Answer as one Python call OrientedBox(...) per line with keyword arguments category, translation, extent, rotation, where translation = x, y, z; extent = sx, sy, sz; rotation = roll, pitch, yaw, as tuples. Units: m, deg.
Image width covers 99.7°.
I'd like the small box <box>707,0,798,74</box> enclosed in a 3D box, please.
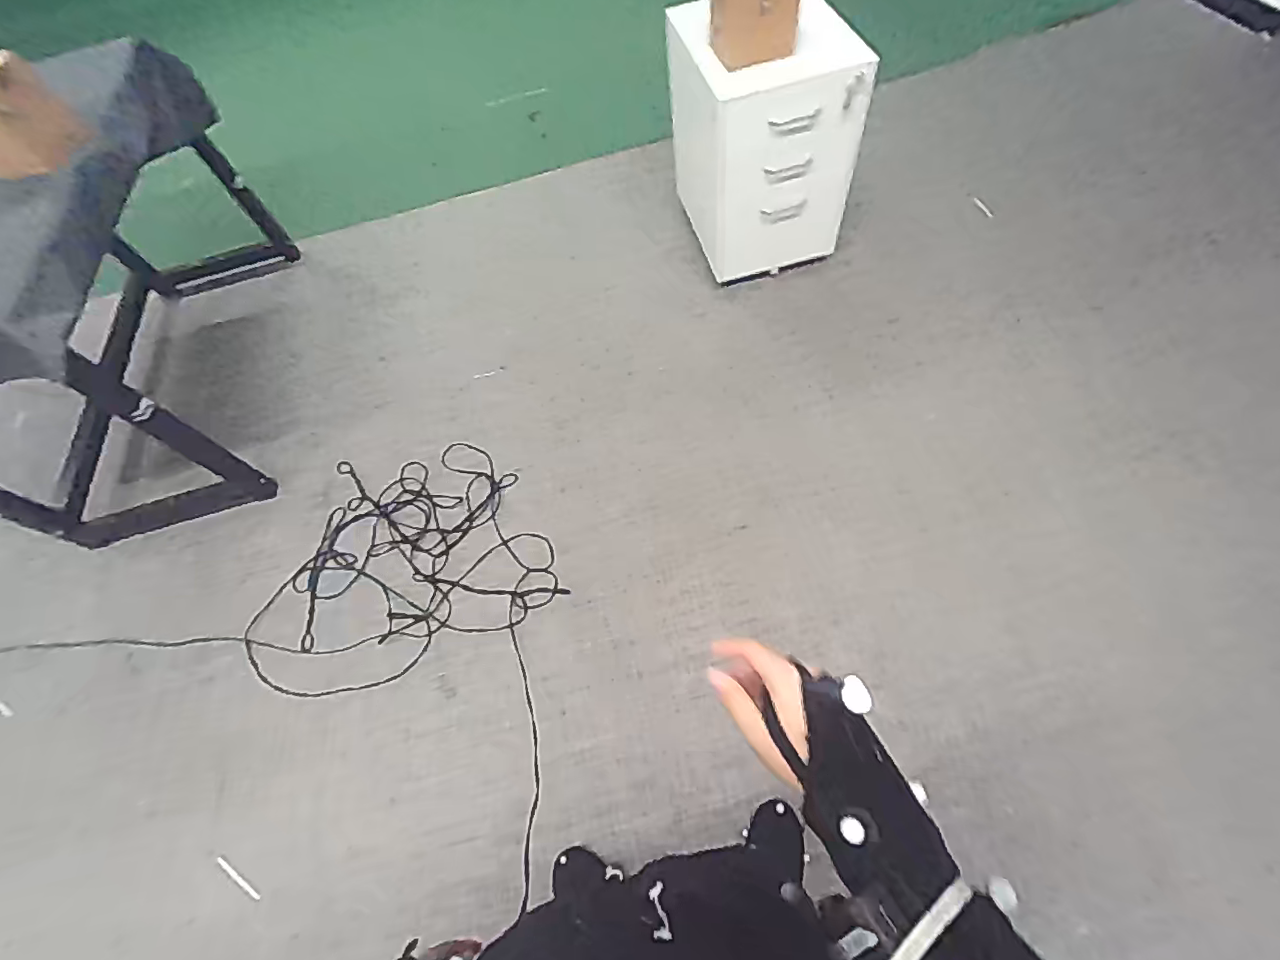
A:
OrientedBox(category="small box", translation=(0.265, -1.123, 1.299), extent=(0.179, 0.176, 0.168), rotation=(-16, 61, -1))
